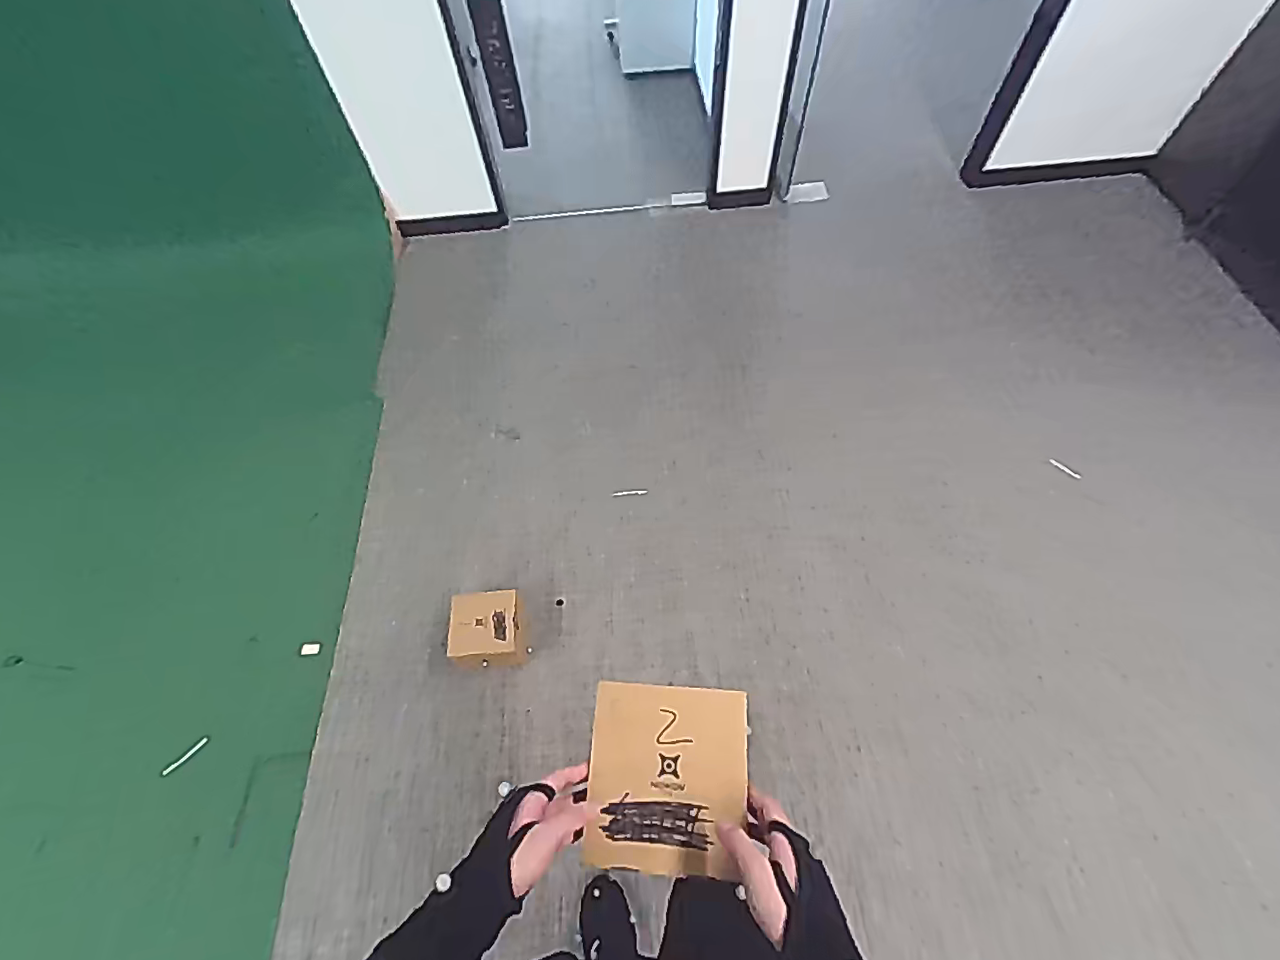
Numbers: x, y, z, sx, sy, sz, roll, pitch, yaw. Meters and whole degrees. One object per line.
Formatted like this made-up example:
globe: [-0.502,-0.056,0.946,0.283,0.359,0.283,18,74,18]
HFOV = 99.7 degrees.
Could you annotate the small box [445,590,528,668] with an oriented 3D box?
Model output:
small box: [-0.407,0.406,1.464,0.179,0.176,0.168,-5,60,0]
